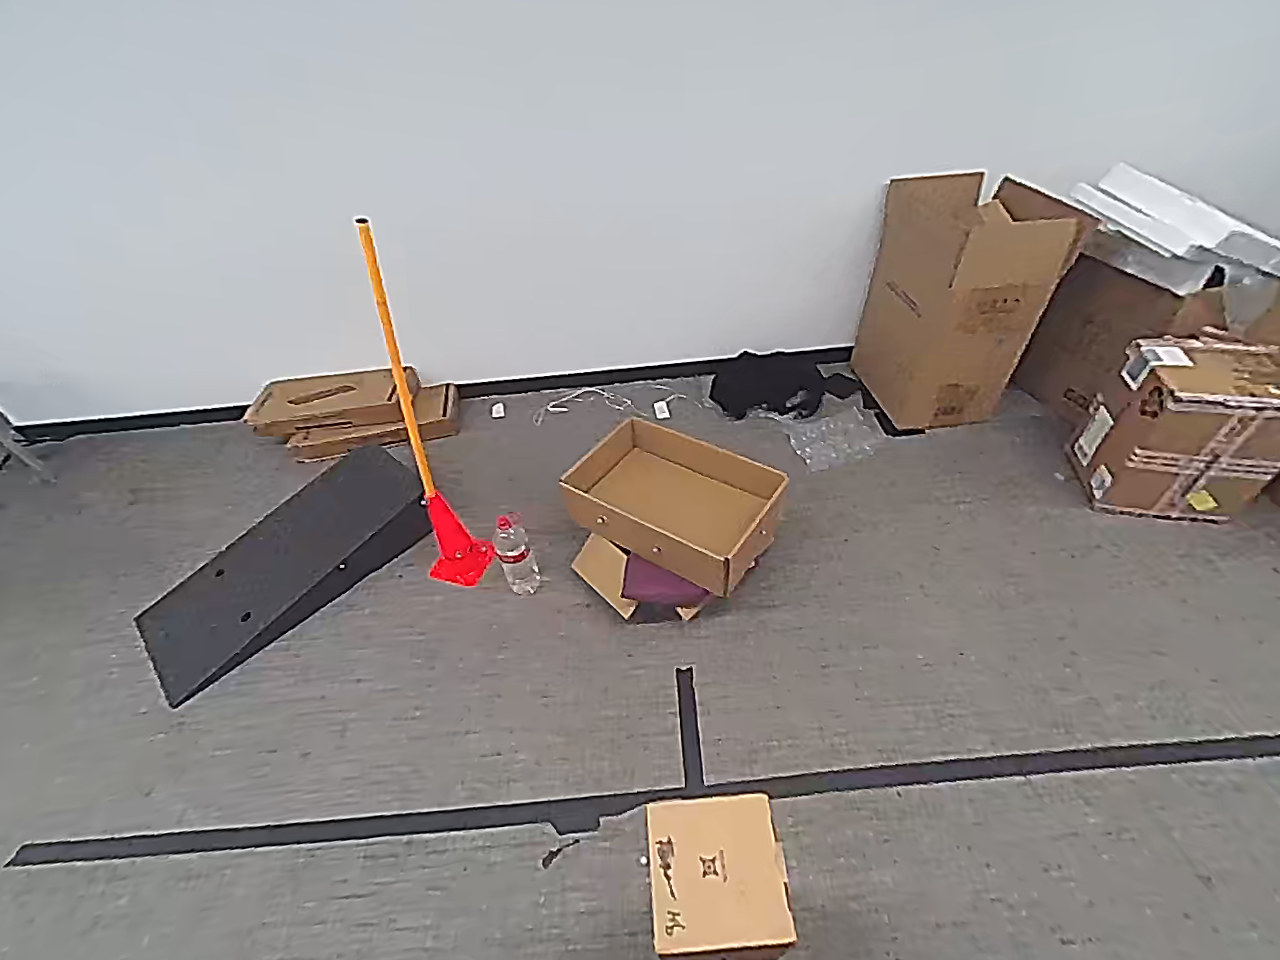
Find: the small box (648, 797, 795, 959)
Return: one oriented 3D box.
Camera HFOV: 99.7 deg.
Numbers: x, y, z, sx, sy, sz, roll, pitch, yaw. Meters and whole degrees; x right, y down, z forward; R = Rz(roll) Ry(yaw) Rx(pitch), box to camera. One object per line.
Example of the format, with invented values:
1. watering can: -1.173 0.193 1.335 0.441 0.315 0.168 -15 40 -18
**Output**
1. small box: 0.102 0.570 0.767 0.179 0.176 0.168 -4 43 0
